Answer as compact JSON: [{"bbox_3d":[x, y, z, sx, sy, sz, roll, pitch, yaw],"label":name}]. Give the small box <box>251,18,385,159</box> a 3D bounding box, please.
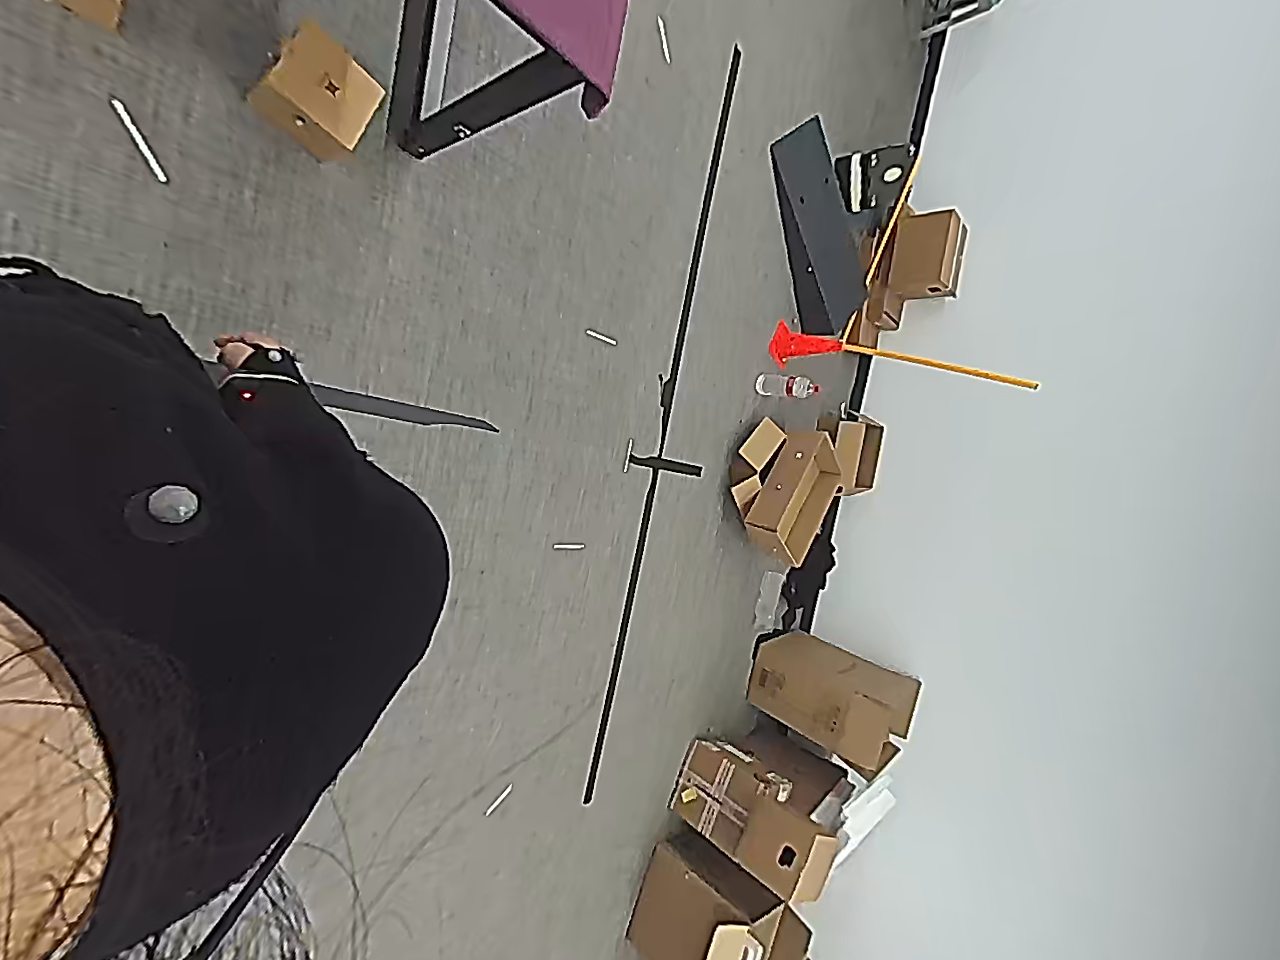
[{"bbox_3d":[-0.700,-0.832,1.175,0.179,0.176,0.168,32,77,-46],"label":"small box"}]
